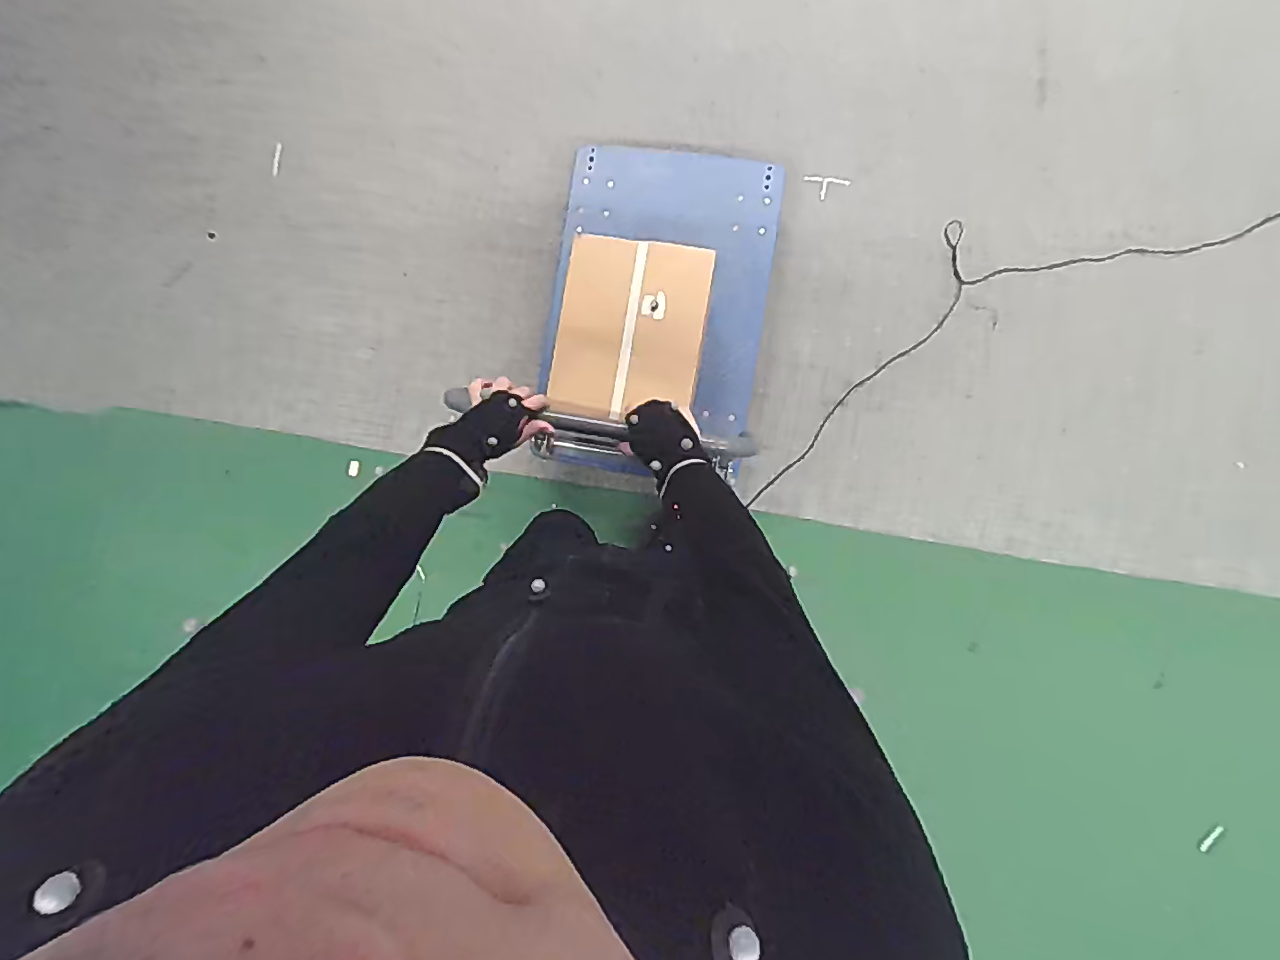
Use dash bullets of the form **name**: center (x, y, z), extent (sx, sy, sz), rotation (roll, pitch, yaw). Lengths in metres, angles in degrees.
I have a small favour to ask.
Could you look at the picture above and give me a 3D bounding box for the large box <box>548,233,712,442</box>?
- **large box**: center (-0.009, -0.319, 1.314), extent (0.320, 0.320, 0.408), rotation (9, 90, 5)
